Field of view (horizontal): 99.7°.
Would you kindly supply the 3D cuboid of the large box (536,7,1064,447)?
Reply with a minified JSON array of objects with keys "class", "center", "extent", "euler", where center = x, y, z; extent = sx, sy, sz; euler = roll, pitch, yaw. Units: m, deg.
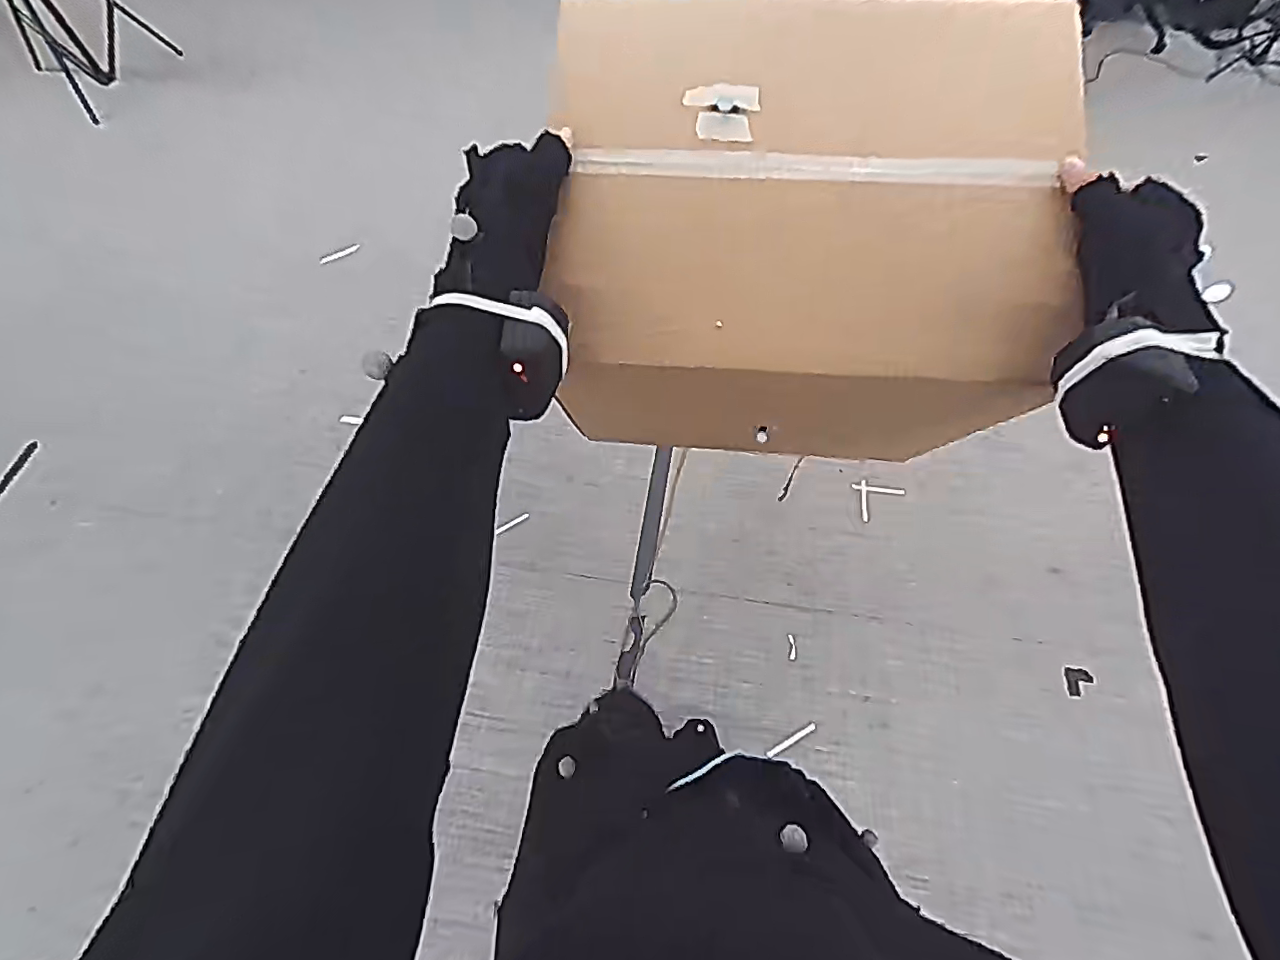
[{"class":"large box","center":[0.136,-0.217,0.577],"extent":[0.408,0.320,0.320],"euler":[4,82,5]}]
